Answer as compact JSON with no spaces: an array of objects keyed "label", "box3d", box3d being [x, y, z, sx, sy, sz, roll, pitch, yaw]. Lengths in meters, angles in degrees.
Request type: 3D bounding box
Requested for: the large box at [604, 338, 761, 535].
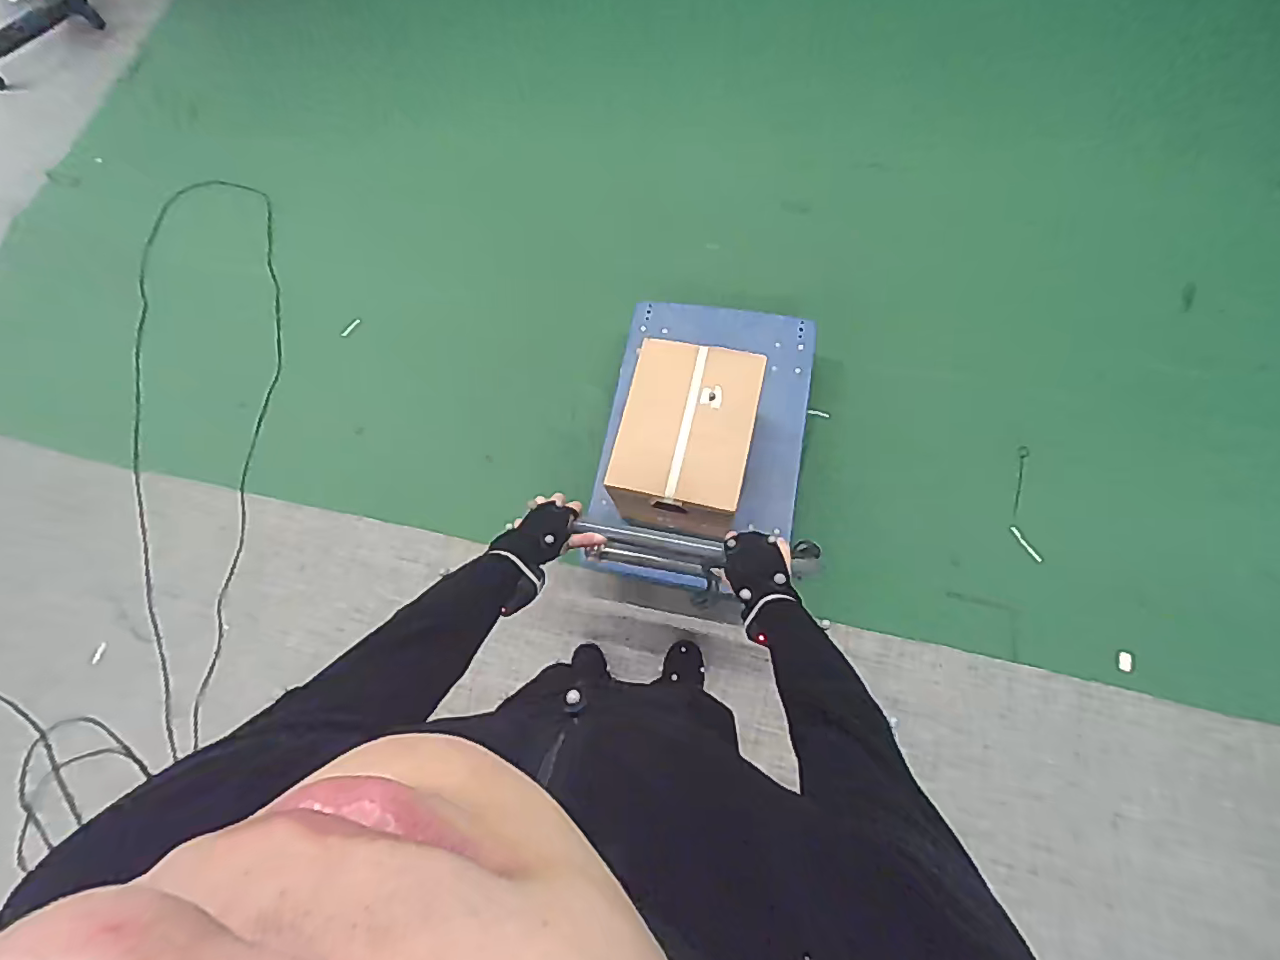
[{"label":"large box","box3d":[0.120,-0.101,1.432,0.320,0.320,0.408,12,74,9]}]
